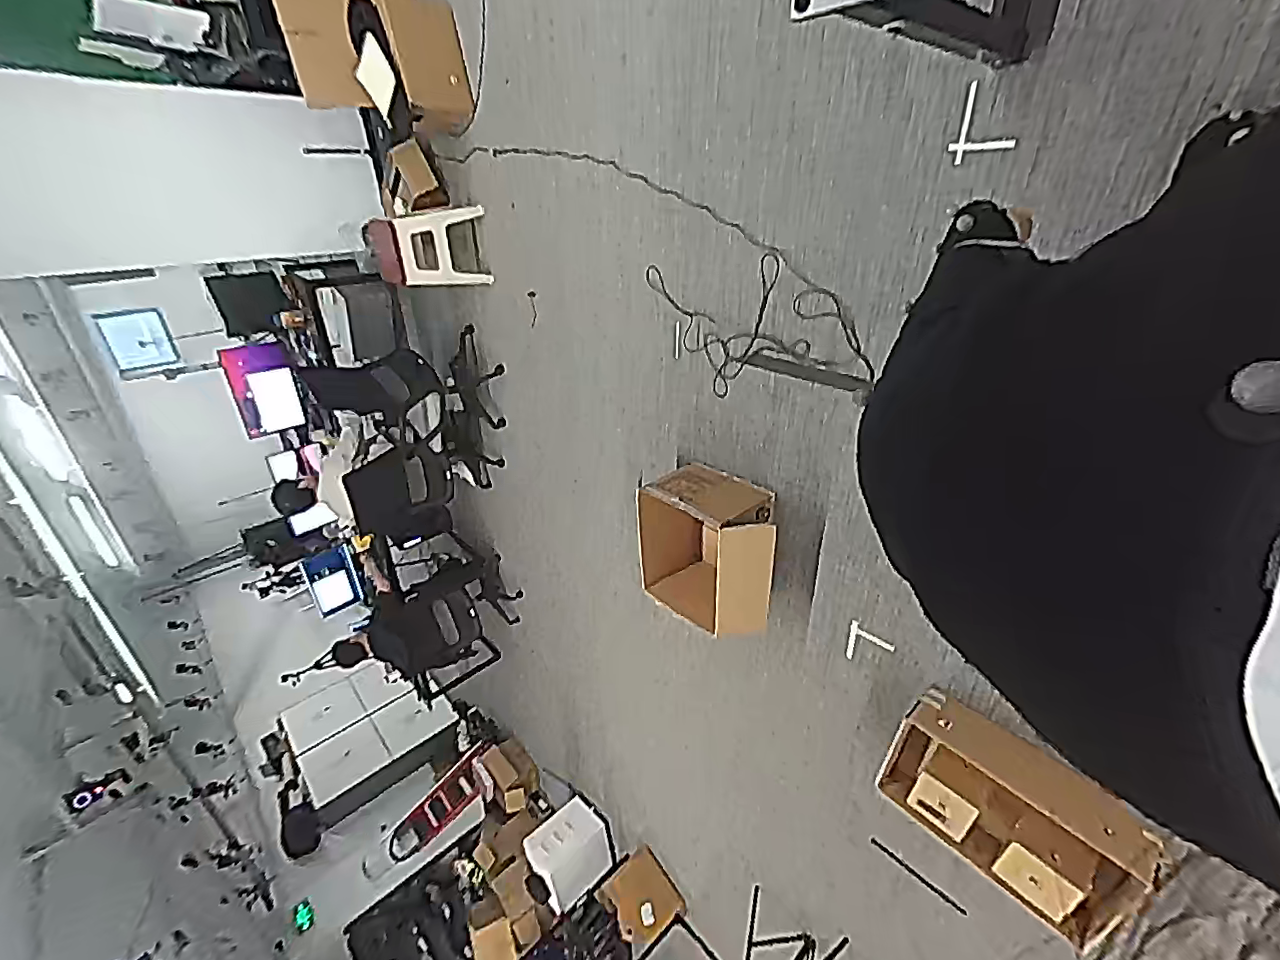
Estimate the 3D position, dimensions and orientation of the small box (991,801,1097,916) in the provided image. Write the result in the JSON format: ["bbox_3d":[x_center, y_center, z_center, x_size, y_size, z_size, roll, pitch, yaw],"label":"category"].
[{"bbox_3d":[1.150,1.067,1.537,0.179,0.176,0.168,32,130,39],"label":"small box"}]
